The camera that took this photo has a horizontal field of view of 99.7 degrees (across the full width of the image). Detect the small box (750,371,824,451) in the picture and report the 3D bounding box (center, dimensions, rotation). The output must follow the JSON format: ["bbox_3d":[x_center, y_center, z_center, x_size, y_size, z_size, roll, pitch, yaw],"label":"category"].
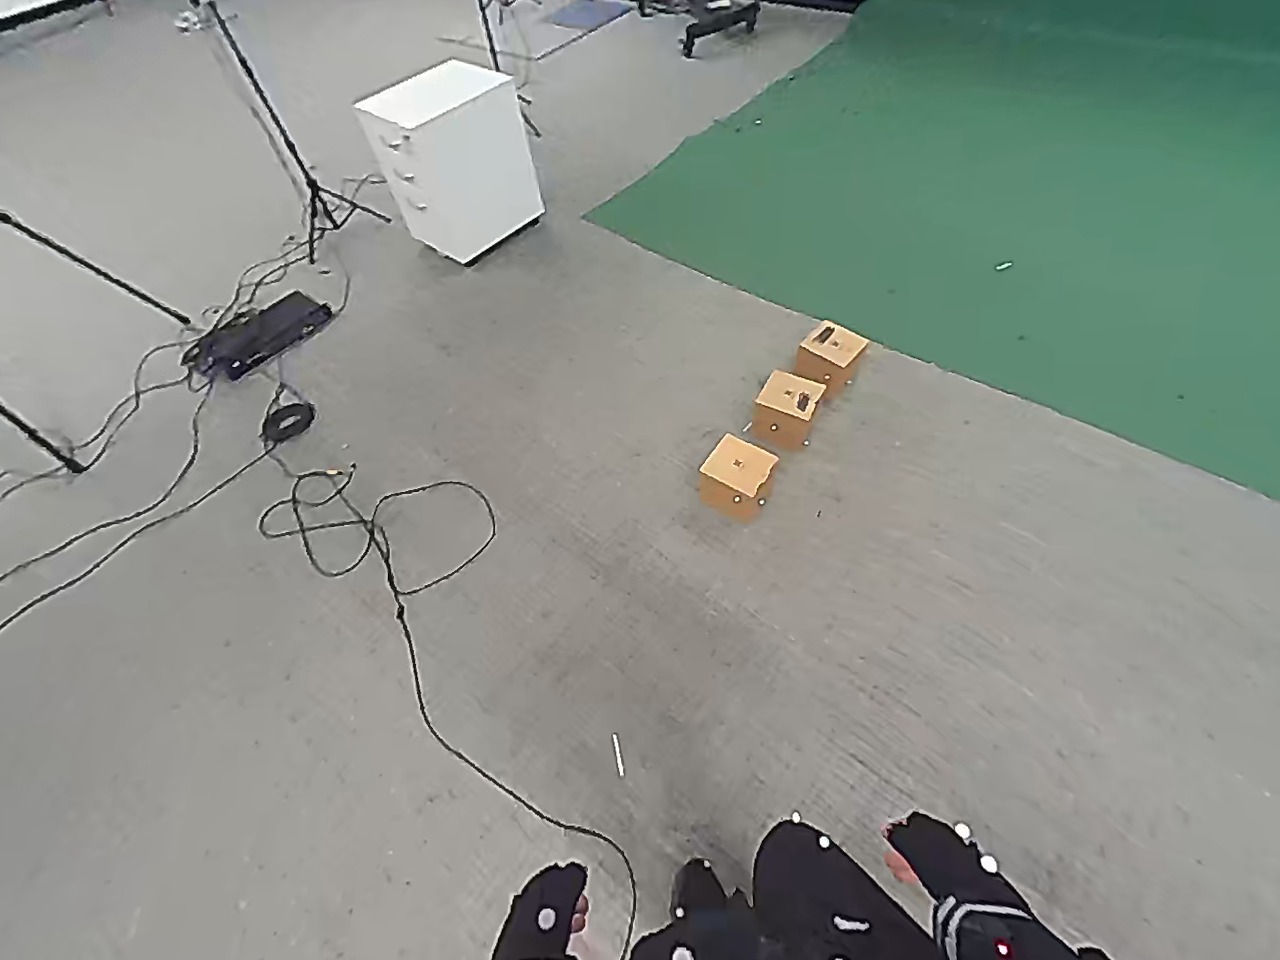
[{"bbox_3d":[0.474,-0.220,1.761,0.179,0.176,0.168,23,60,20],"label":"small box"}]

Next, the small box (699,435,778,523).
[{"bbox_3d":[0.290,0.001,1.626,0.179,0.176,0.168,28,63,21],"label":"small box"}]
